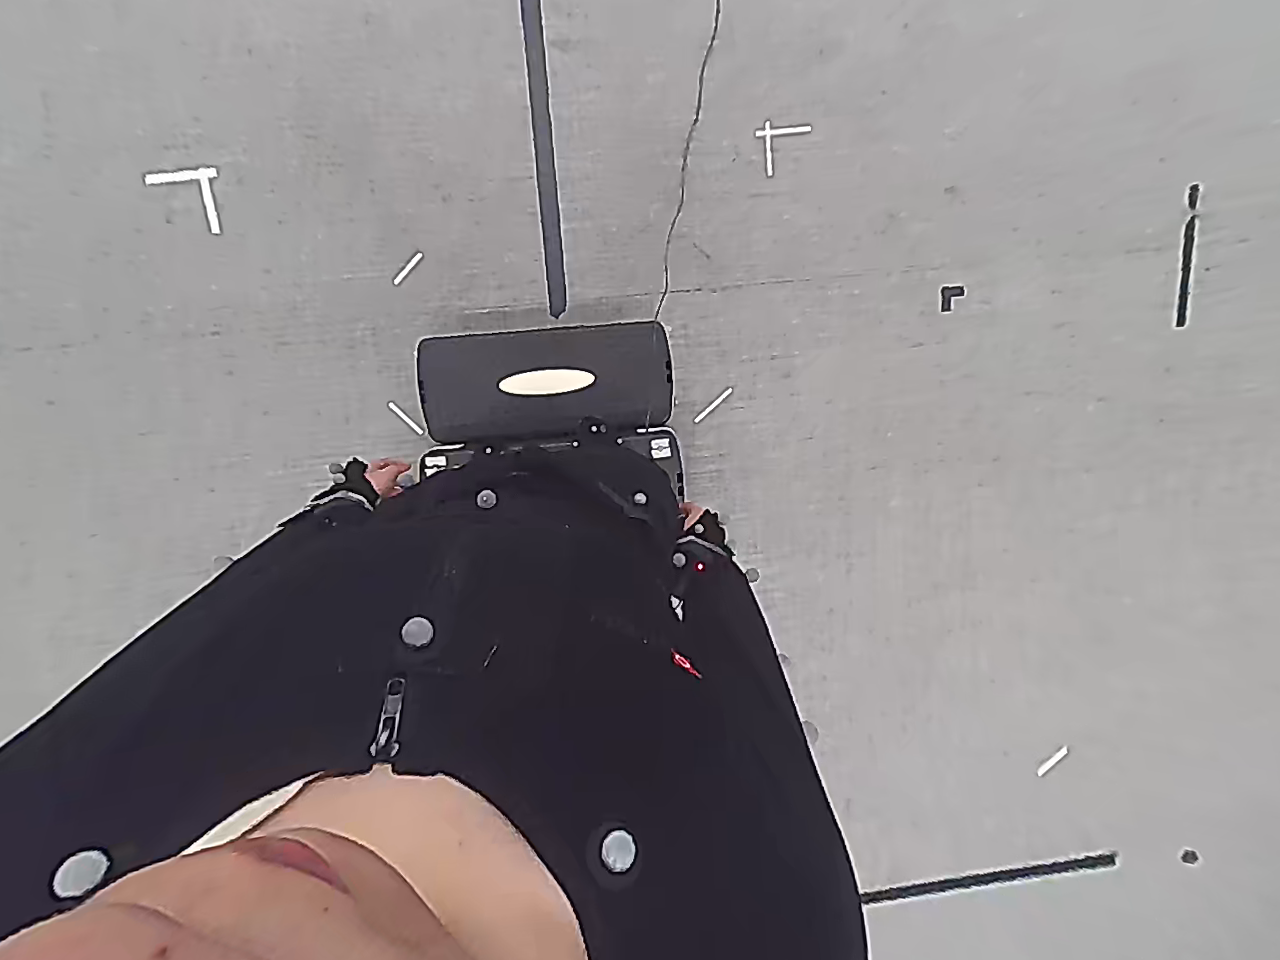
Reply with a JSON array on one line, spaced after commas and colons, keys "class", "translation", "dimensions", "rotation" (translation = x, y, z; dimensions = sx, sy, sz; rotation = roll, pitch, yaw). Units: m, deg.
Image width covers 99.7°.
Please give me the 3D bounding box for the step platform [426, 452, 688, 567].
[{"class": "step platform", "translation": [-0.213, 0.077, 1.459], "dimensions": [0.684, 0.204, 0.286], "rotation": [-1, 97, -3]}]
